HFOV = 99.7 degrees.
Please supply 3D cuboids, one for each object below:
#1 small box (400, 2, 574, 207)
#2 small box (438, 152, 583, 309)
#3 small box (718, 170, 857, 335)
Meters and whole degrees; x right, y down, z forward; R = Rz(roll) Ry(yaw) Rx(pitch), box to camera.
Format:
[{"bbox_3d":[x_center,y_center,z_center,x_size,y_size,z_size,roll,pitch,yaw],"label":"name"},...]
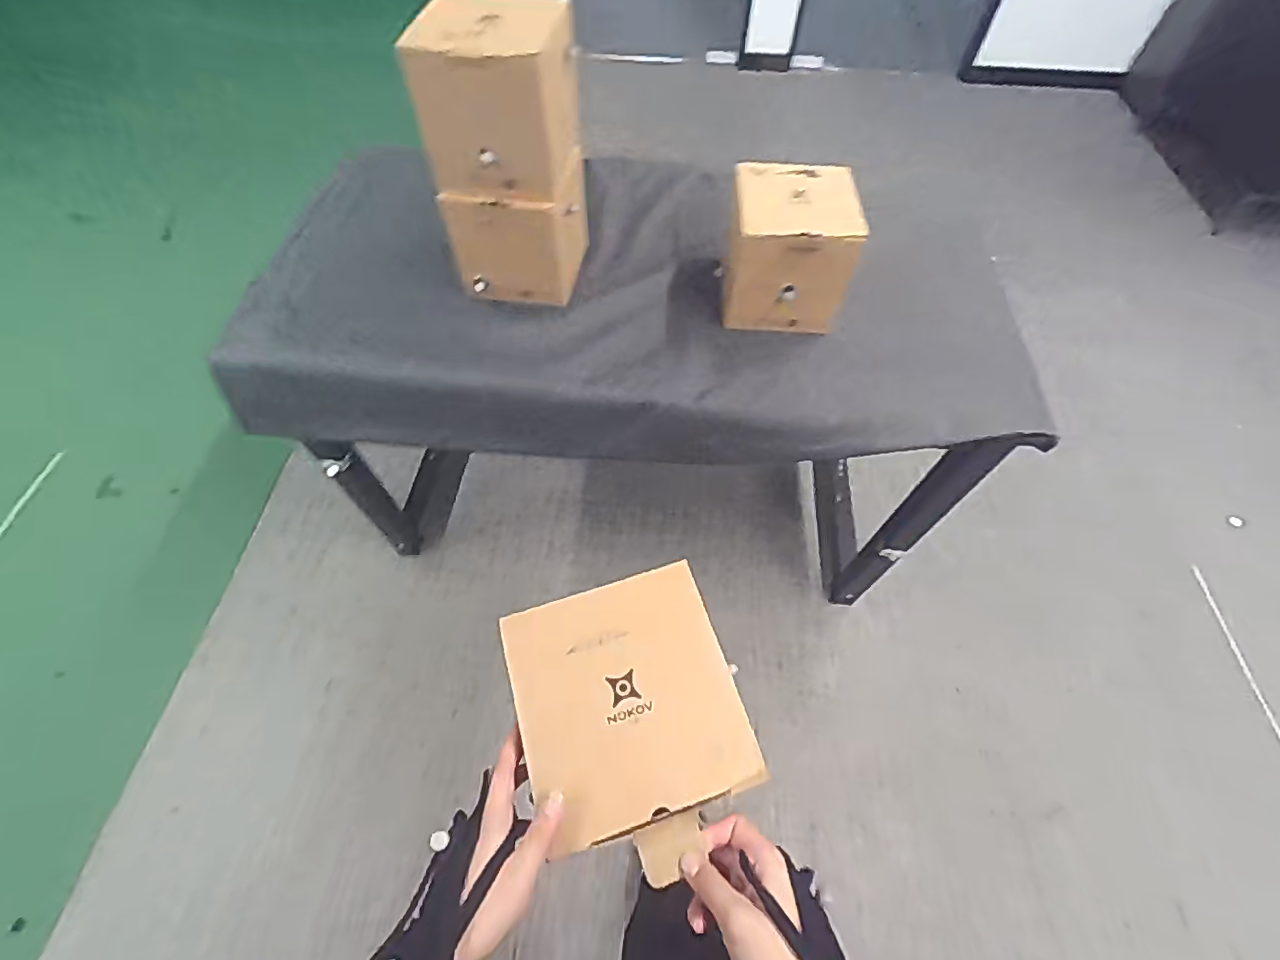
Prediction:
[{"bbox_3d":[-0.186,-0.497,0.722,0.168,0.176,0.179,6,58,3],"label":"small box"},{"bbox_3d":[-0.189,-0.395,0.853,0.168,0.176,0.179,8,57,3],"label":"small box"},{"bbox_3d":[0.213,-0.342,0.829,0.168,0.176,0.179,3,58,1],"label":"small box"}]
